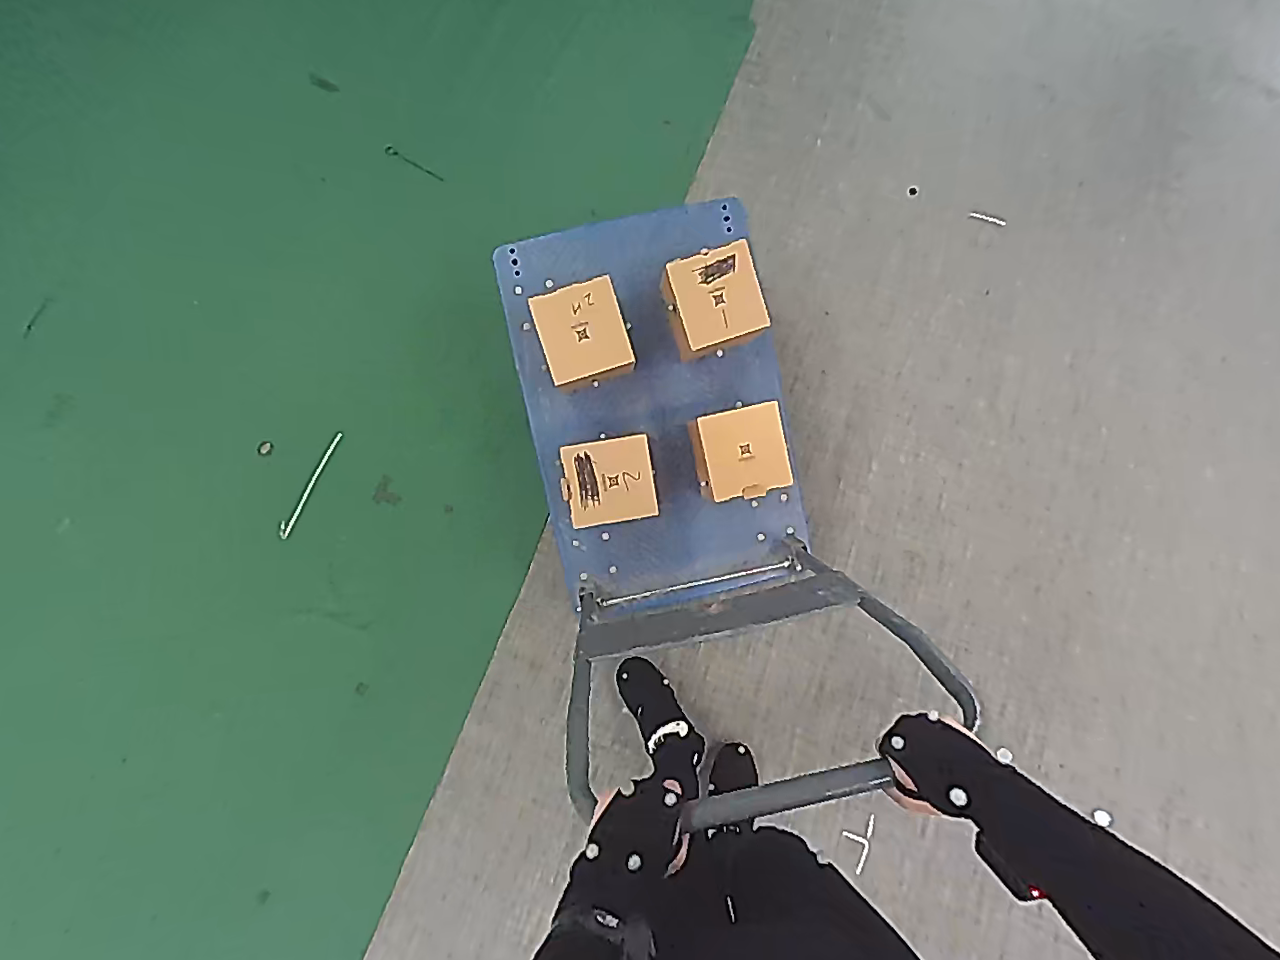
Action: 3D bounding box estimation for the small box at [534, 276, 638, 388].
[{"bbox_3d":[-0.105,-0.294,1.117,0.168,0.176,0.179,-17,95,-2],"label":"small box"}]

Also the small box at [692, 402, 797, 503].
[{"bbox_3d":[0.214,-0.059,1.149,0.168,0.176,0.179,-12,95,-1],"label":"small box"}]

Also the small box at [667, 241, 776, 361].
[{"bbox_3d":[0.161,-0.361,1.123,0.168,0.176,0.179,-17,95,0],"label":"small box"}]
